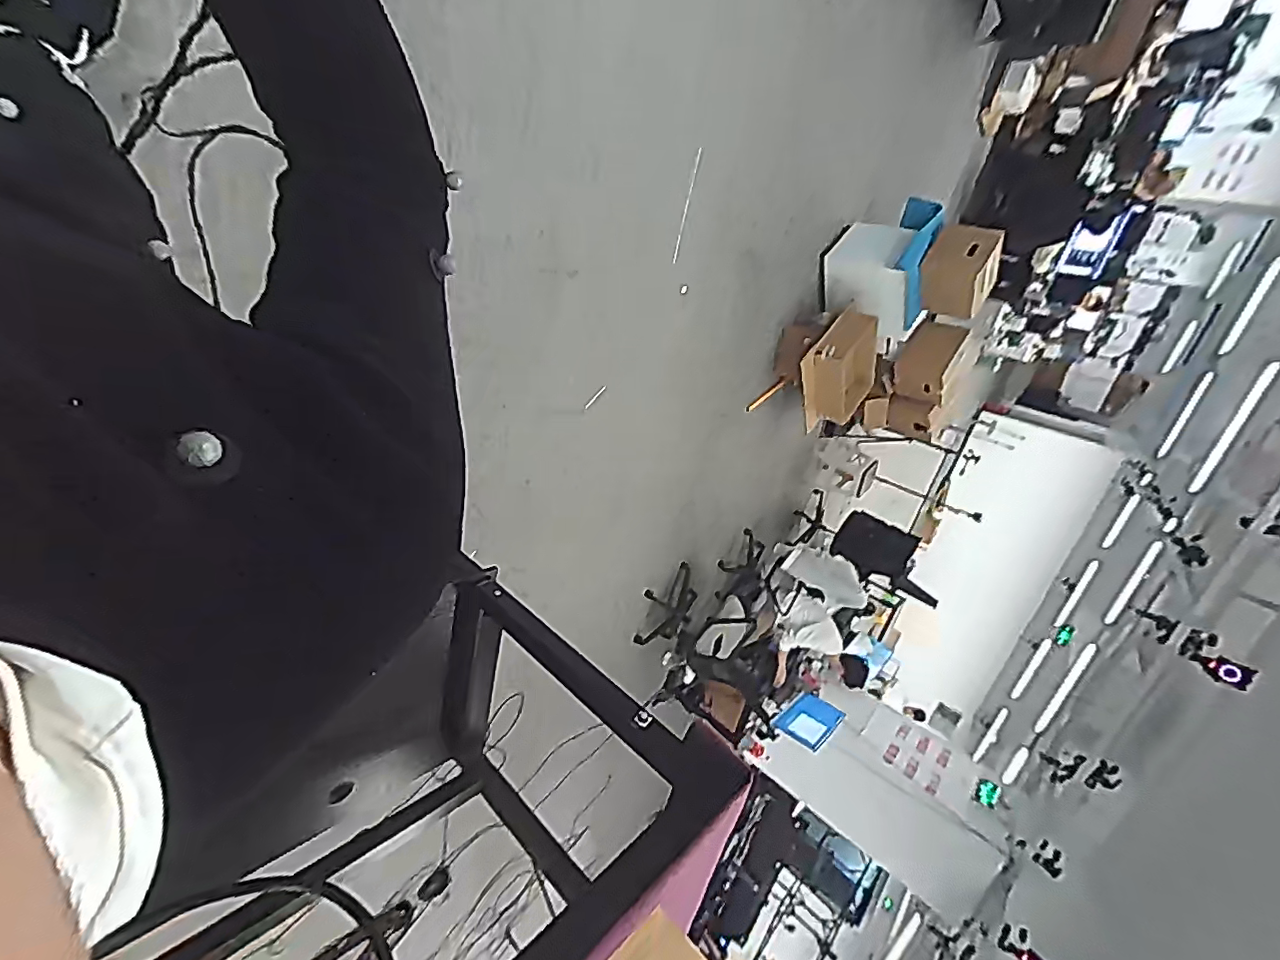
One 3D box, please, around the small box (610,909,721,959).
[{"bbox_3d":[0.021,0.703,0.684,0.168,0.176,0.179,-9,122,-51],"label":"small box"}]
